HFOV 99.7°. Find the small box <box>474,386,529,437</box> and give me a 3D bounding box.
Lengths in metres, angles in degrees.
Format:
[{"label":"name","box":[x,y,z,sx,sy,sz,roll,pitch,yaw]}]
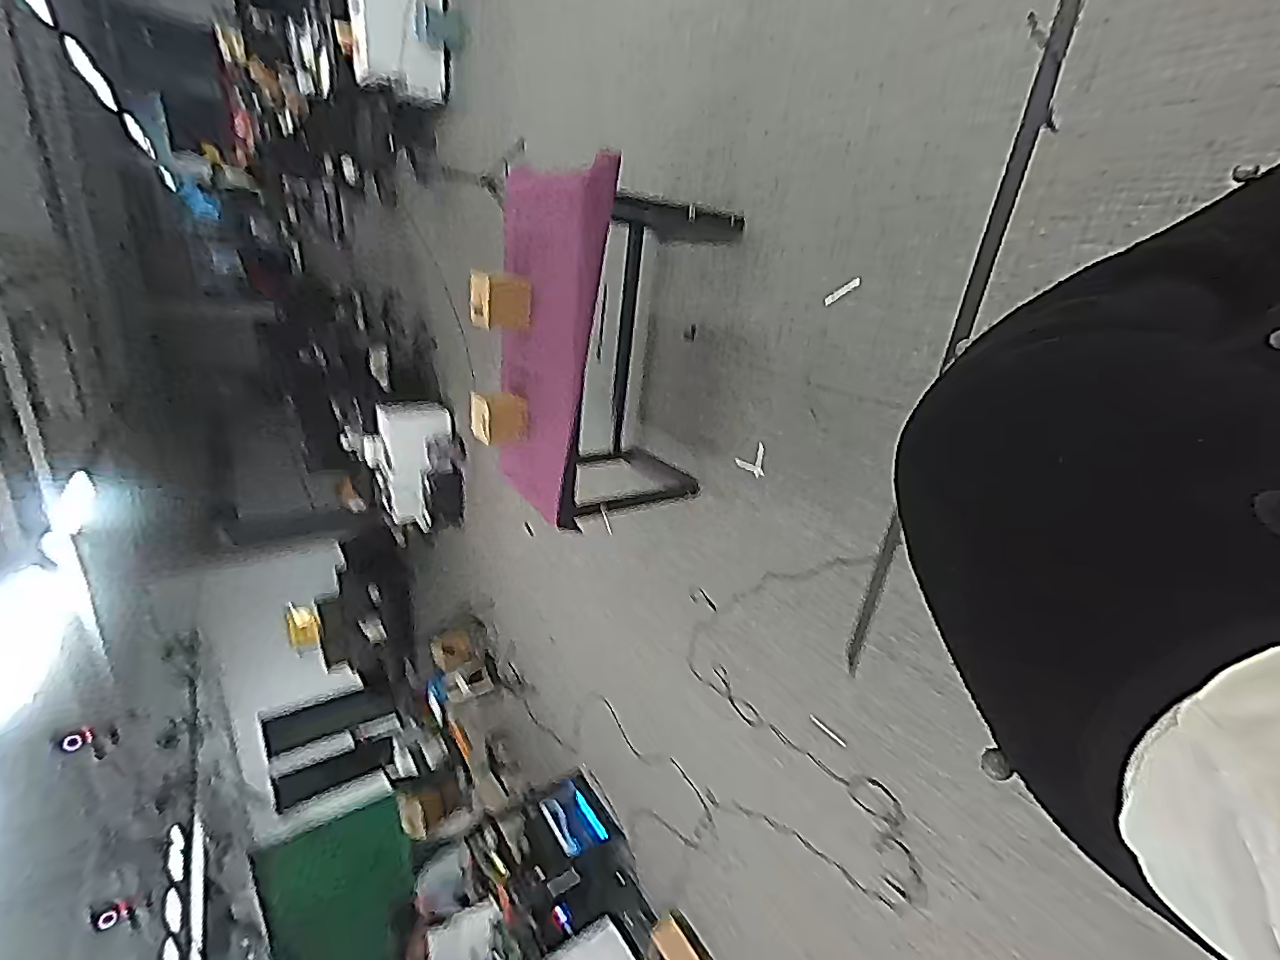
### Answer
[{"label":"small box","box":[-0.563,-0.284,2.204,0.179,0.176,0.168,32,122,47]}]
